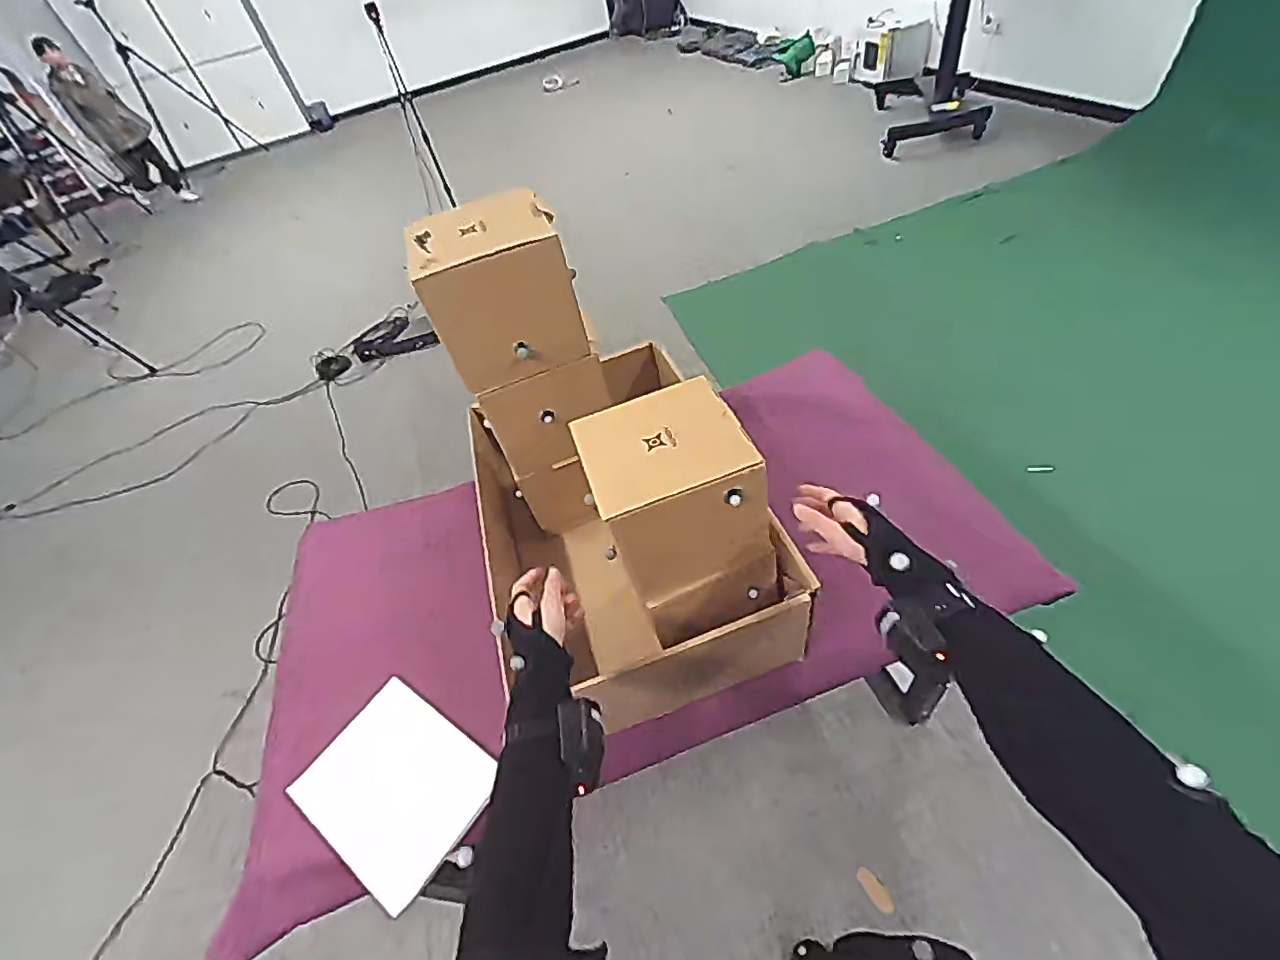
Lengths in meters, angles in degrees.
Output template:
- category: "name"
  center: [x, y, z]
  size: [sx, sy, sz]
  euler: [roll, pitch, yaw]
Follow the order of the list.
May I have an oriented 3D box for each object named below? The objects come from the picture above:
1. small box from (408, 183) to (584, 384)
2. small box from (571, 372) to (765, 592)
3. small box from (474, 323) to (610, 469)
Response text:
- category: "small box"
  center: [-0.181, -0.255, 0.709]
  size: [0.179, 0.176, 0.168]
  euler: [-19, 48, -6]
- category: "small box"
  center: [0.037, 0.006, 0.643]
  size: [0.179, 0.176, 0.168]
  euler: [-20, 46, -4]
- category: "small box"
  center: [-0.150, -0.148, 0.830]
  size: [0.179, 0.176, 0.168]
  euler: [-22, 49, -6]
